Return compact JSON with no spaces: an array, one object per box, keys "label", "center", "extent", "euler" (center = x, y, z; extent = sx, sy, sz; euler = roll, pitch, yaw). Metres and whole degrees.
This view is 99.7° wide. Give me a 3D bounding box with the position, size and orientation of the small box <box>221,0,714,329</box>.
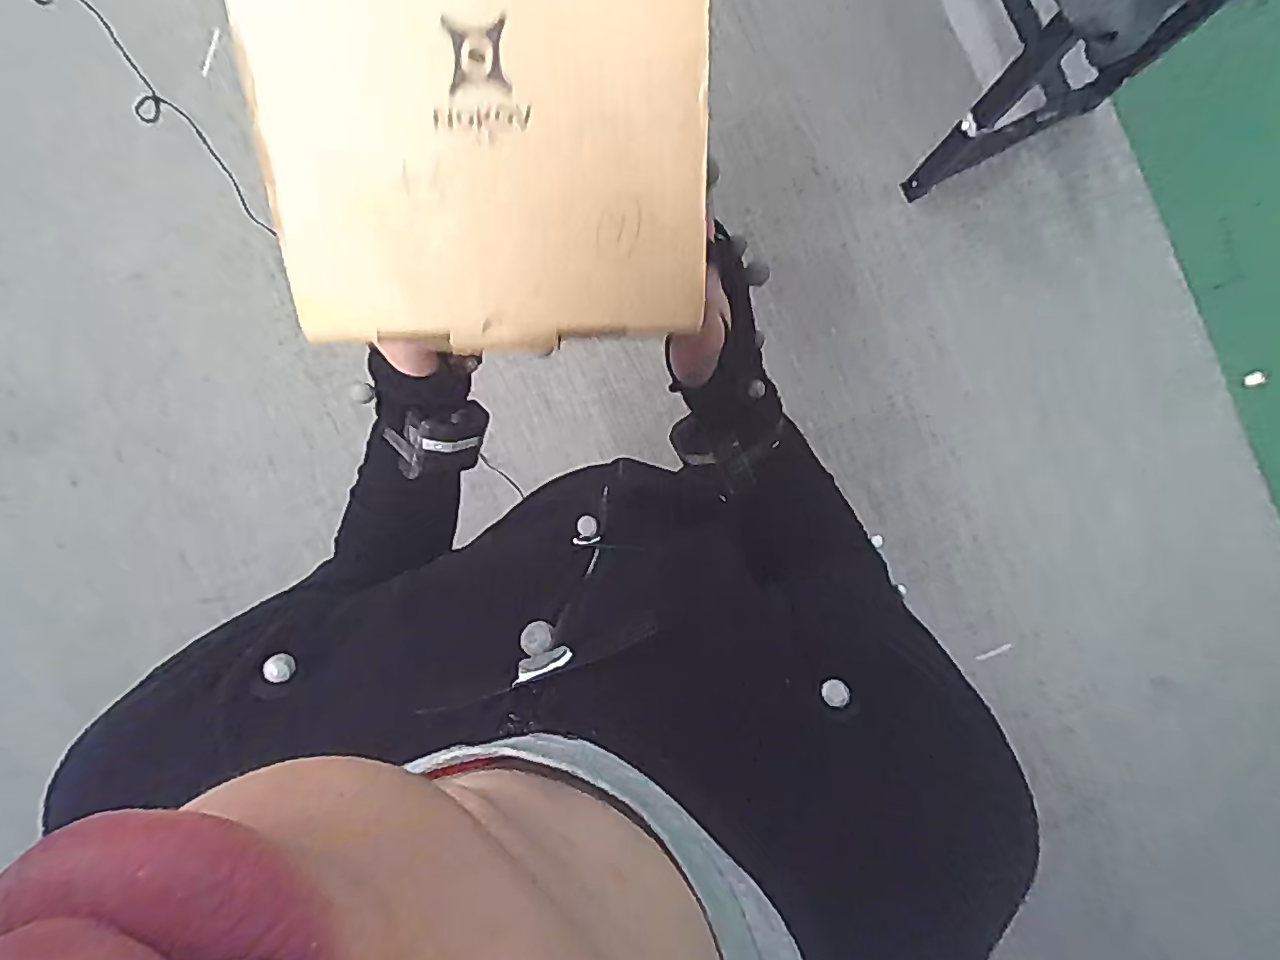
[{"label":"small box","center":[-0.058,-0.171,0.261],"extent":[0.168,0.176,0.179],"euler":[-2,109,-2]}]
